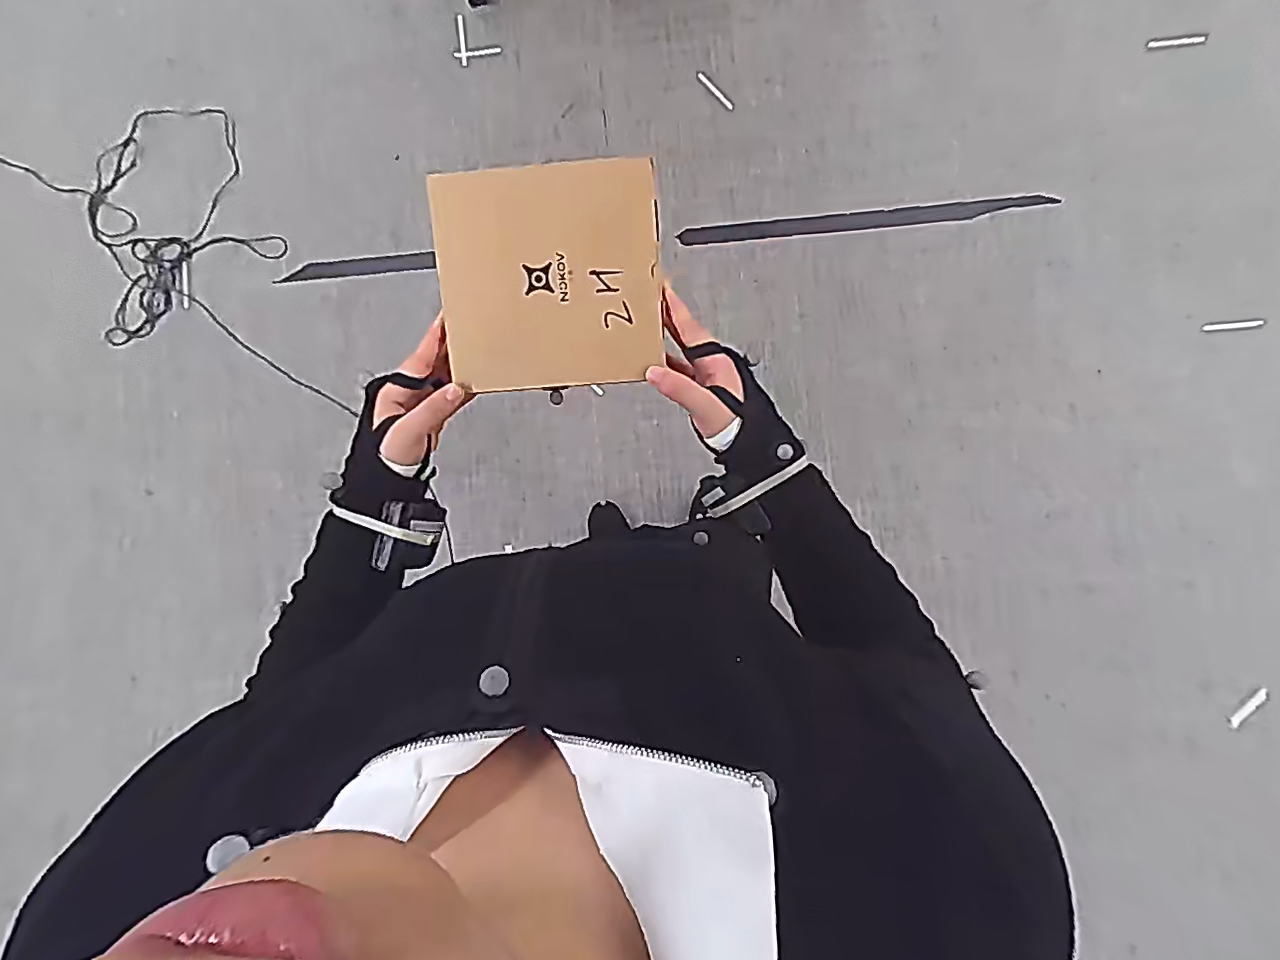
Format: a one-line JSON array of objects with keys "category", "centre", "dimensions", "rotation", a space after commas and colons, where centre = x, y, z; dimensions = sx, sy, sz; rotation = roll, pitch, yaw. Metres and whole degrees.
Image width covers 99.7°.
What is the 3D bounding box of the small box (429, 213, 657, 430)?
[{"category": "small box", "centre": [-0.075, -0.139, 0.514], "dimensions": [0.179, 0.176, 0.168], "rotation": [-3, 101, 1]}]
